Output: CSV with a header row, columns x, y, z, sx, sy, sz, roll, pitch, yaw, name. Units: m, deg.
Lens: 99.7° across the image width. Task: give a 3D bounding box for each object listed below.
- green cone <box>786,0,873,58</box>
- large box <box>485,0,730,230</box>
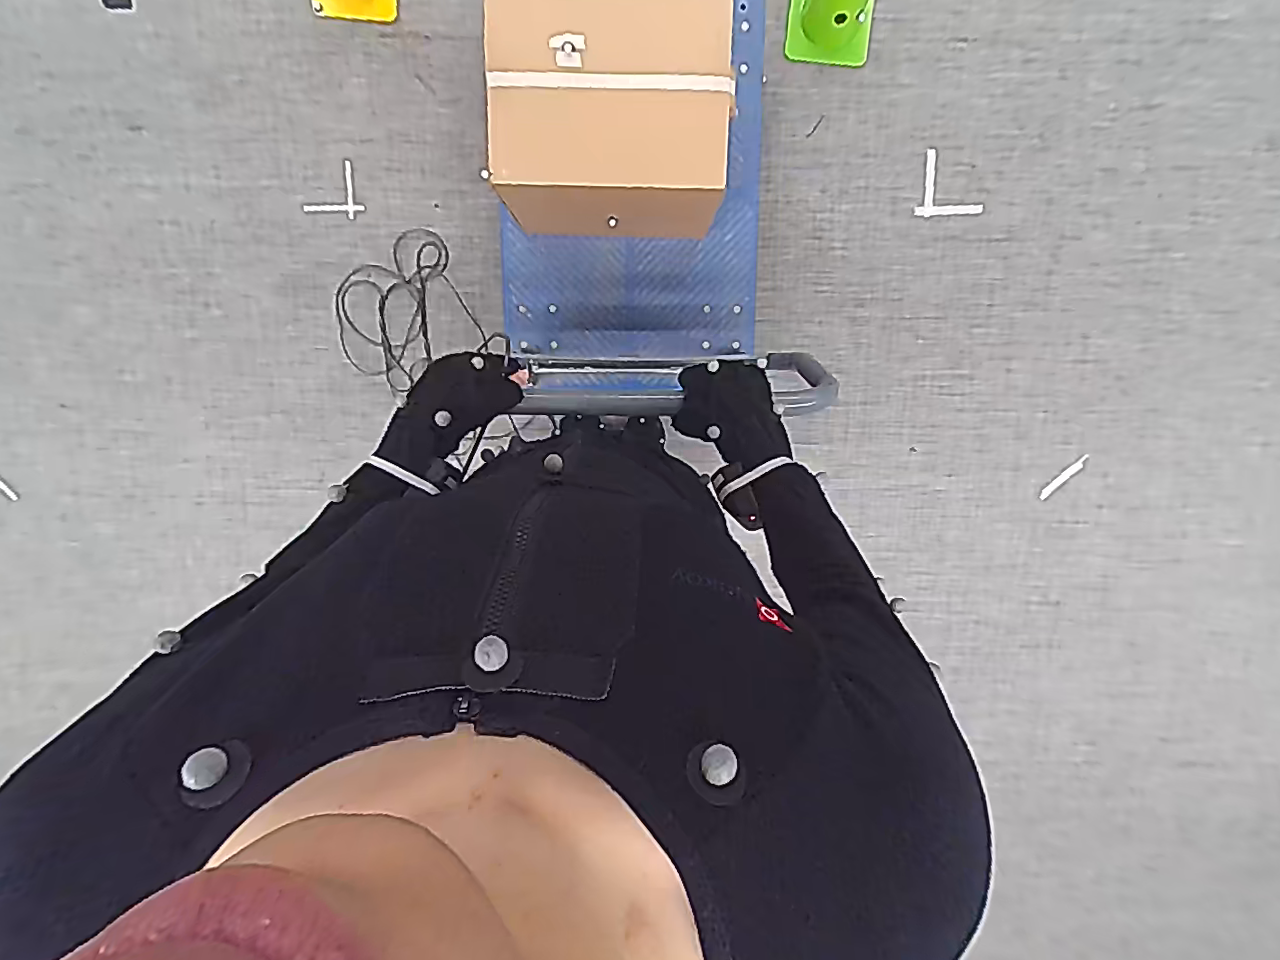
x,y,z,sx,sy,sz,roll,pitch,yaw,name
0.460,-1.098,1.122,0.202,0.368,0.200,4,99,-3,green cone
-0.051,-0.682,1.040,0.408,0.320,0.320,1,100,0,large box
